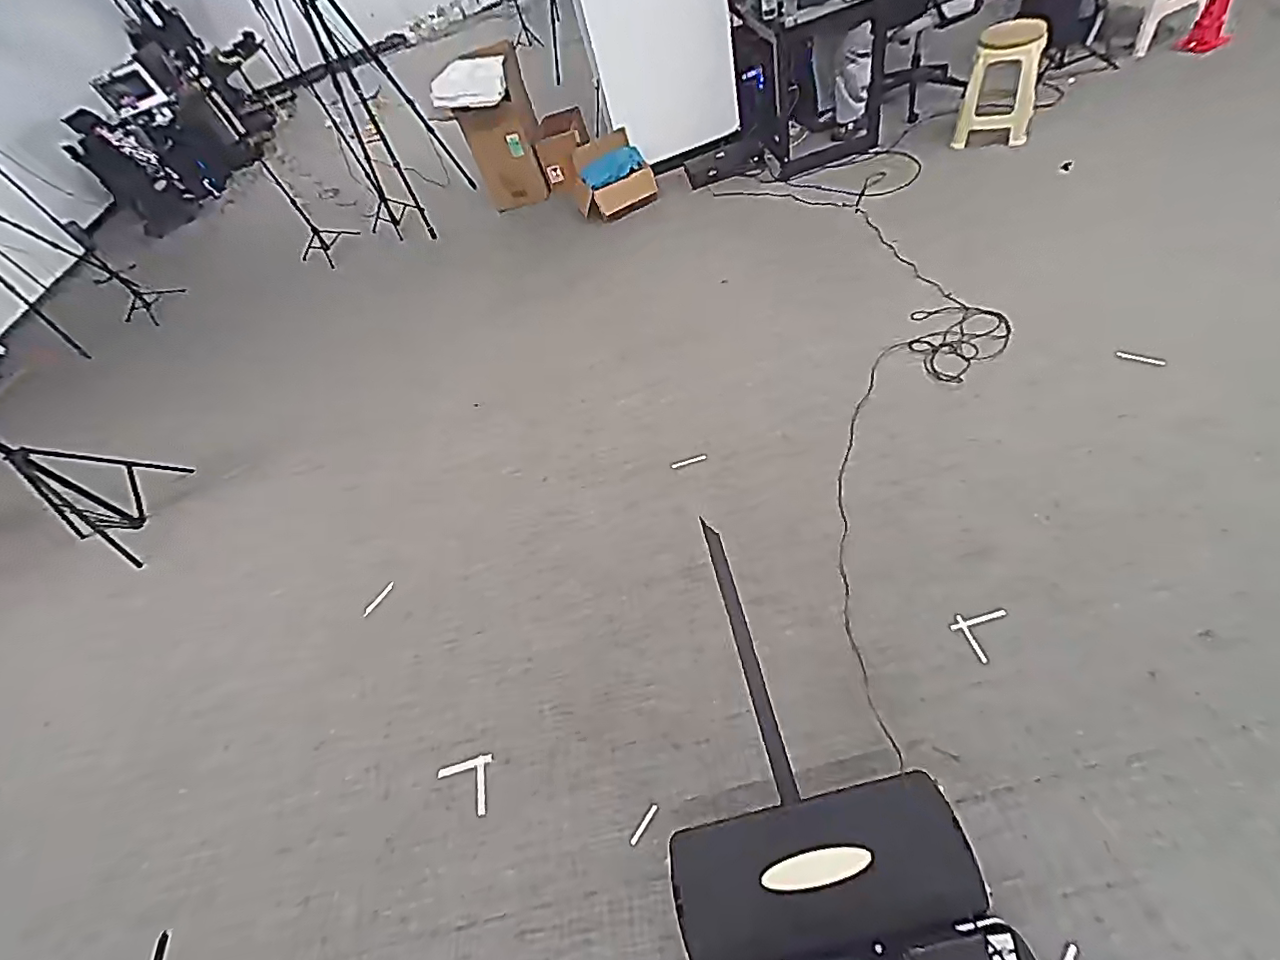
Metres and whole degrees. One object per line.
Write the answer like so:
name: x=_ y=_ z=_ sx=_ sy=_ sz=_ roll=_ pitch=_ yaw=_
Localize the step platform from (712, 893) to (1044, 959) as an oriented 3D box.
step platform: x=0.453 y=1.050 z=1.049 sx=0.684 sy=0.204 sz=0.286 roll=-19 pitch=50 yaw=5
